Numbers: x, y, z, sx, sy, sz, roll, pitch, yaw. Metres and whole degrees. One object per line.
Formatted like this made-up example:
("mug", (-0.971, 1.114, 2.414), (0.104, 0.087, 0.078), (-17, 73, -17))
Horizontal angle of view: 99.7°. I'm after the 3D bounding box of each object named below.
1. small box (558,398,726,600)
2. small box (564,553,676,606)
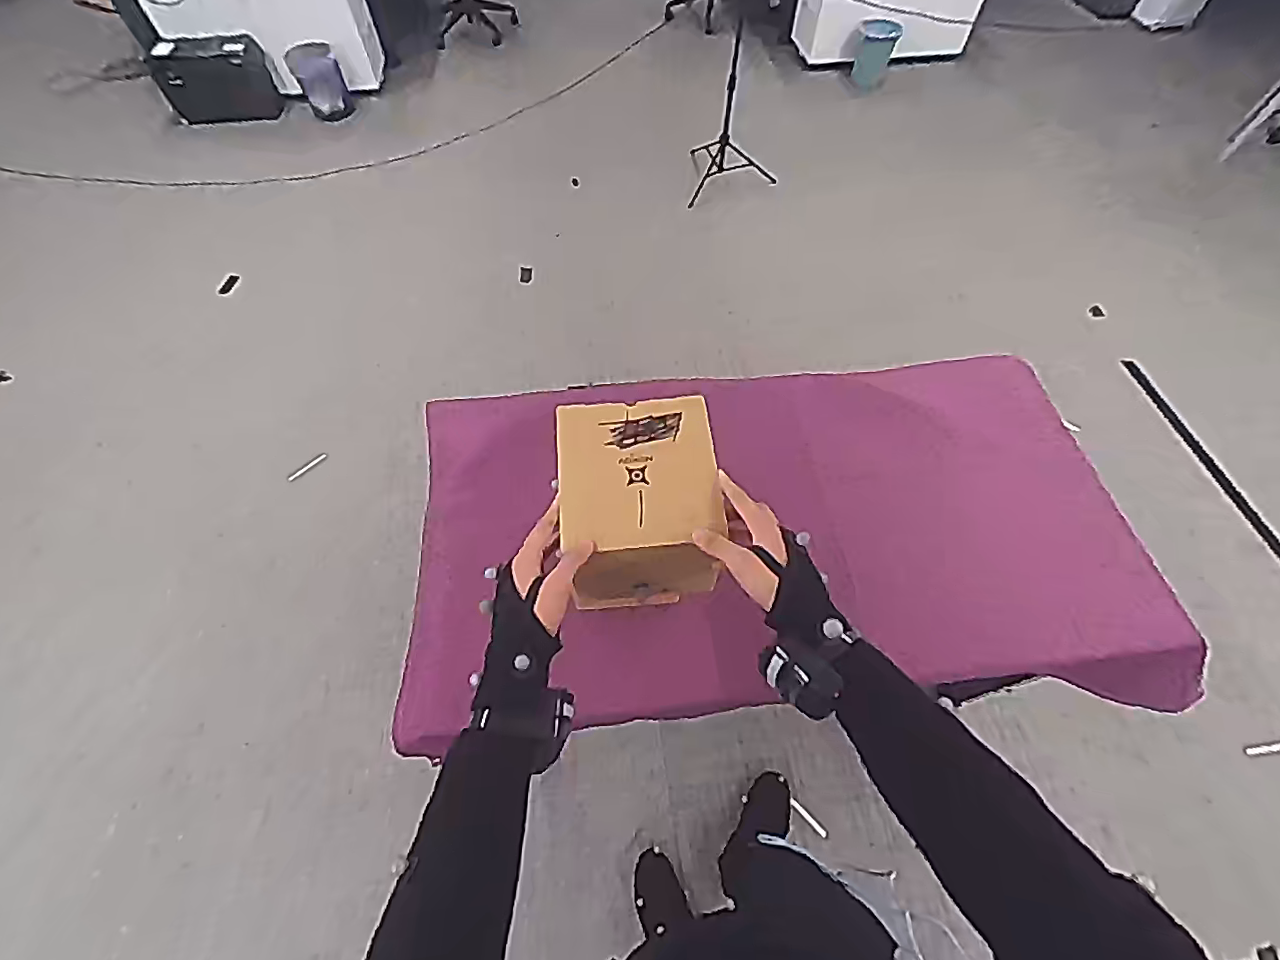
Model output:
("small box", (-0.003, 0.027, 0.630), (0.168, 0.176, 0.179), (-5, 62, -1))
("small box", (-0.027, 0.091, 0.849), (0.168, 0.176, 0.179), (-3, 59, -3))
